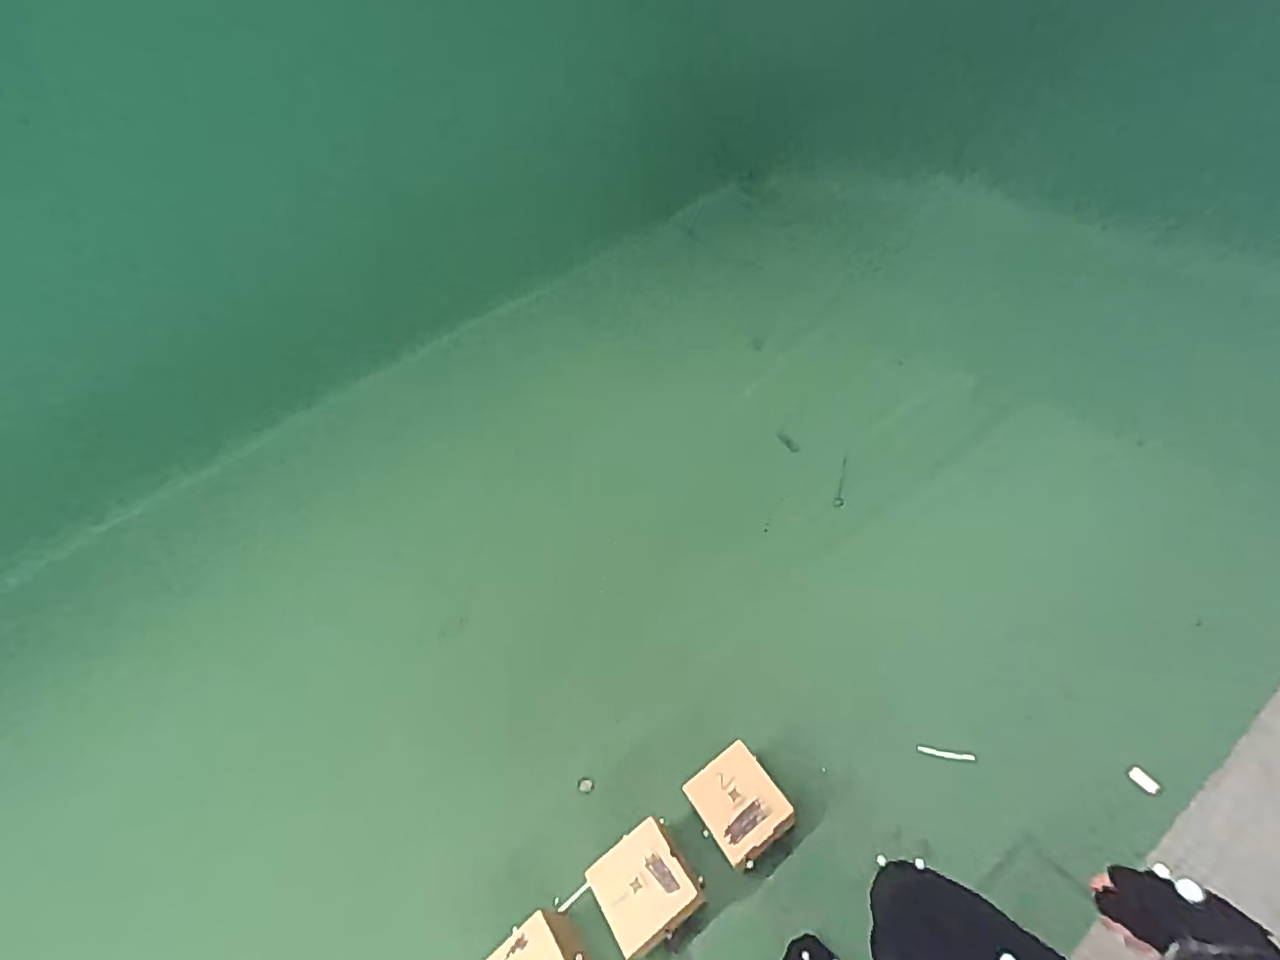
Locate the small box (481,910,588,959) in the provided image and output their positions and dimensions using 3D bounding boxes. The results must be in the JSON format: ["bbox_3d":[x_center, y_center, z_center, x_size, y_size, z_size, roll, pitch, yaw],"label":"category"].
[{"bbox_3d":[-0.201,0.999,1.076,0.168,0.176,0.179,-36,52,-15],"label":"small box"}]
